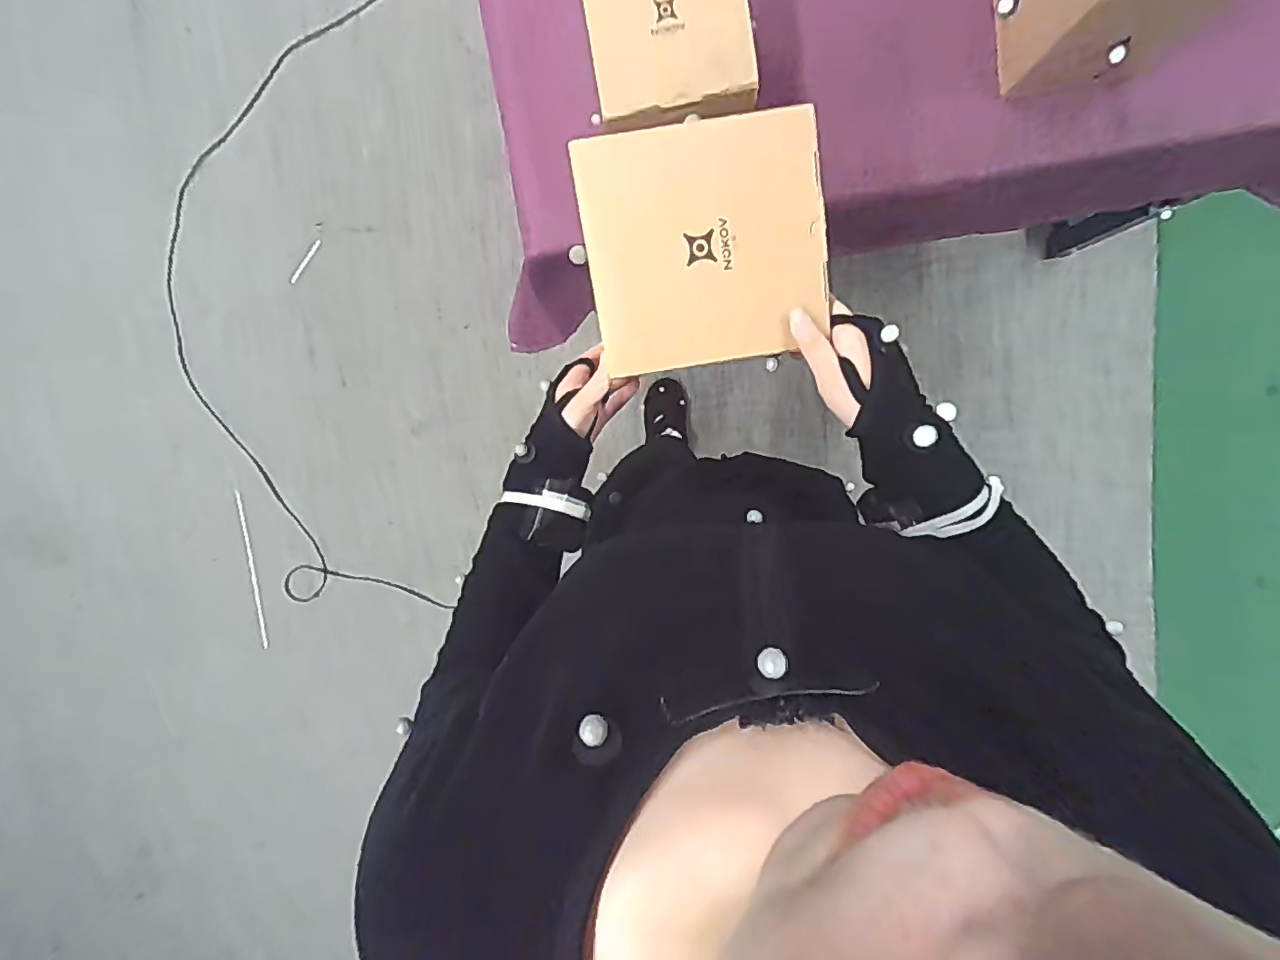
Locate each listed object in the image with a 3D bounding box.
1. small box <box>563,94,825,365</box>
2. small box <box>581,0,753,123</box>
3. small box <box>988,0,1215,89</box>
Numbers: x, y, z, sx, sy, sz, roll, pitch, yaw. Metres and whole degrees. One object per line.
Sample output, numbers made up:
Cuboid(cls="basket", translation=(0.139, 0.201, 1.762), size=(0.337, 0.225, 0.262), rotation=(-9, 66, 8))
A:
Cuboid(cls="small box", translation=(0.040, -0.193, 0.469), size=(0.179, 0.176, 0.168), rotation=(-10, 103, -2))
Cuboid(cls="small box", translation=(0.029, -0.480, 0.630), size=(0.168, 0.176, 0.179), rotation=(-9, 95, 4))
Cuboid(cls="small box", translation=(0.510, -0.566, 0.590), size=(0.168, 0.176, 0.179), rotation=(-8, 96, 4))
